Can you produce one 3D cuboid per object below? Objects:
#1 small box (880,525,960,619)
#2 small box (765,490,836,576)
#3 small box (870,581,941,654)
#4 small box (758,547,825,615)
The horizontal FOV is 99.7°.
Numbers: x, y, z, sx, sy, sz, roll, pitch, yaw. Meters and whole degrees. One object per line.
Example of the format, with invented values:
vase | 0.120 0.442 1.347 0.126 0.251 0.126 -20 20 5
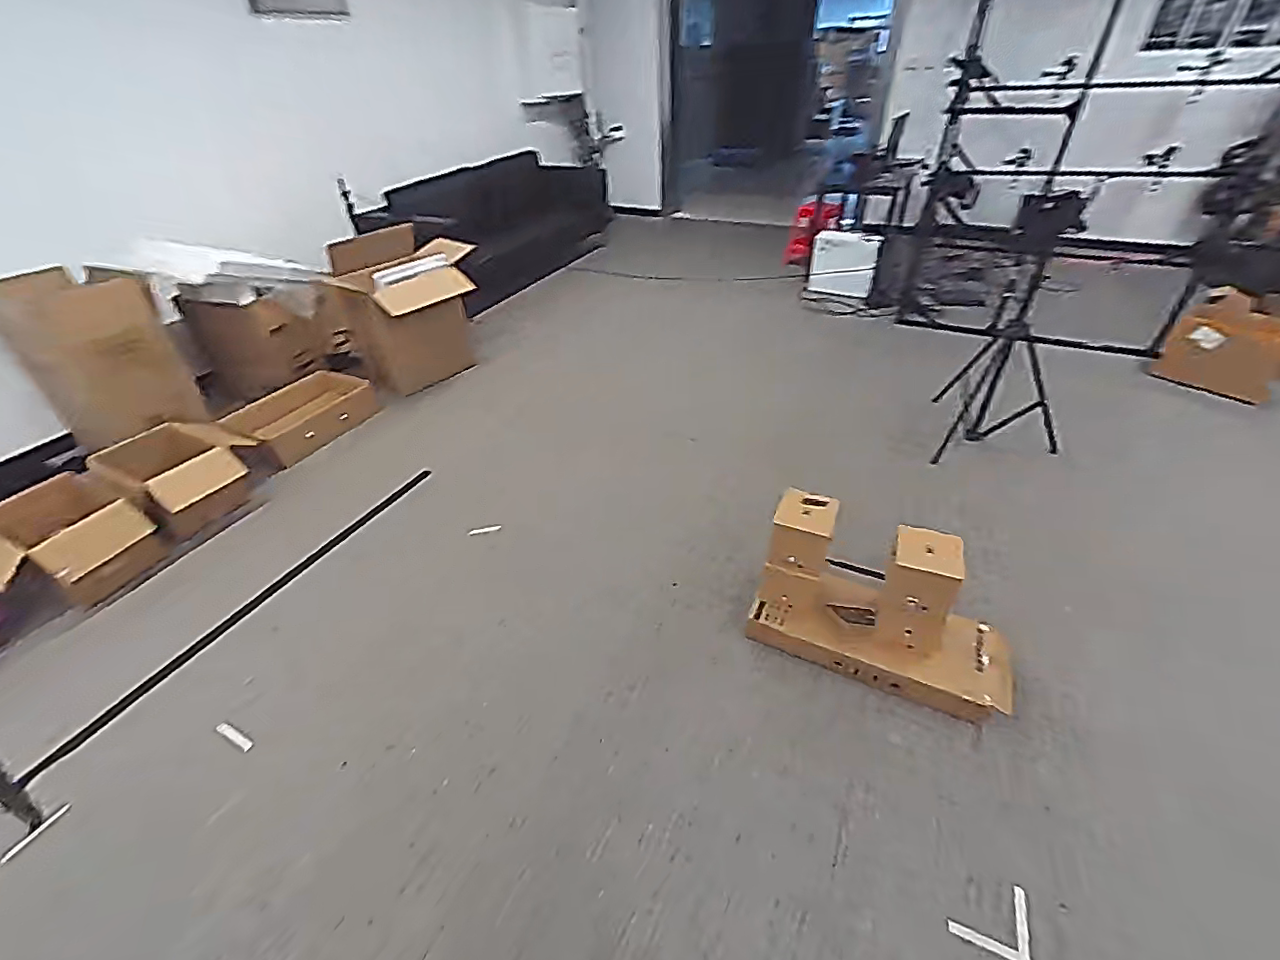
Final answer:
small box | 0.789 0.259 1.536 0.168 0.176 0.179 11 40 19
small box | 0.491 0.163 1.668 0.168 0.176 0.179 15 41 20
small box | 0.804 0.392 1.633 0.168 0.176 0.179 13 41 21
small box | 0.489 0.301 1.757 0.168 0.176 0.179 16 41 21
